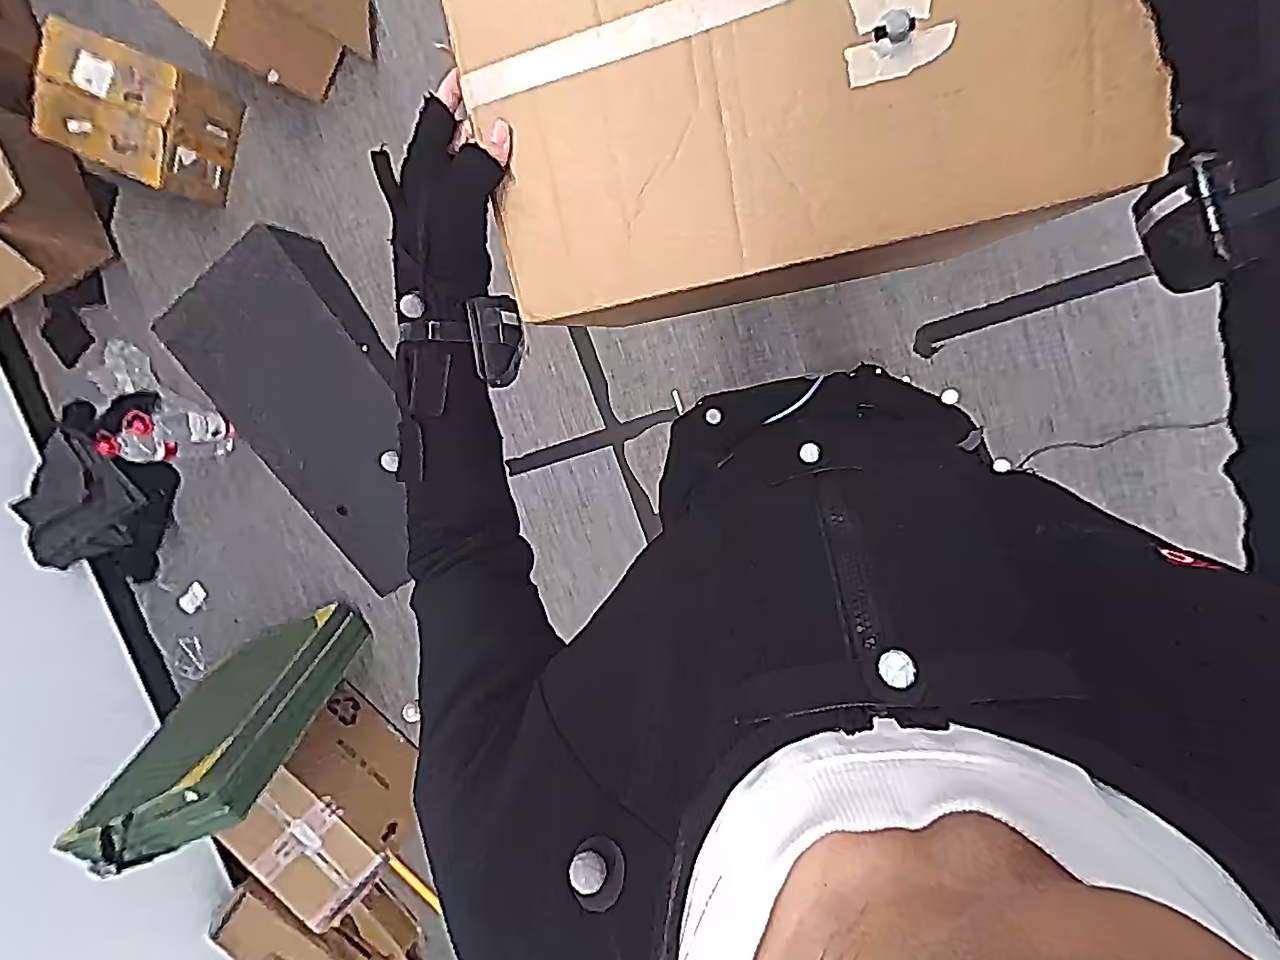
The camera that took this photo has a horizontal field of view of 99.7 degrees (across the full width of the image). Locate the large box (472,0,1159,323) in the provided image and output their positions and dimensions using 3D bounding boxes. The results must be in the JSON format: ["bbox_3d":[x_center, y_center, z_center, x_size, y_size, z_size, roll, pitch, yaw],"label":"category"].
[{"bbox_3d":[0.112,-0.340,0.475,0.408,0.320,0.320,-9,104,13],"label":"large box"}]
